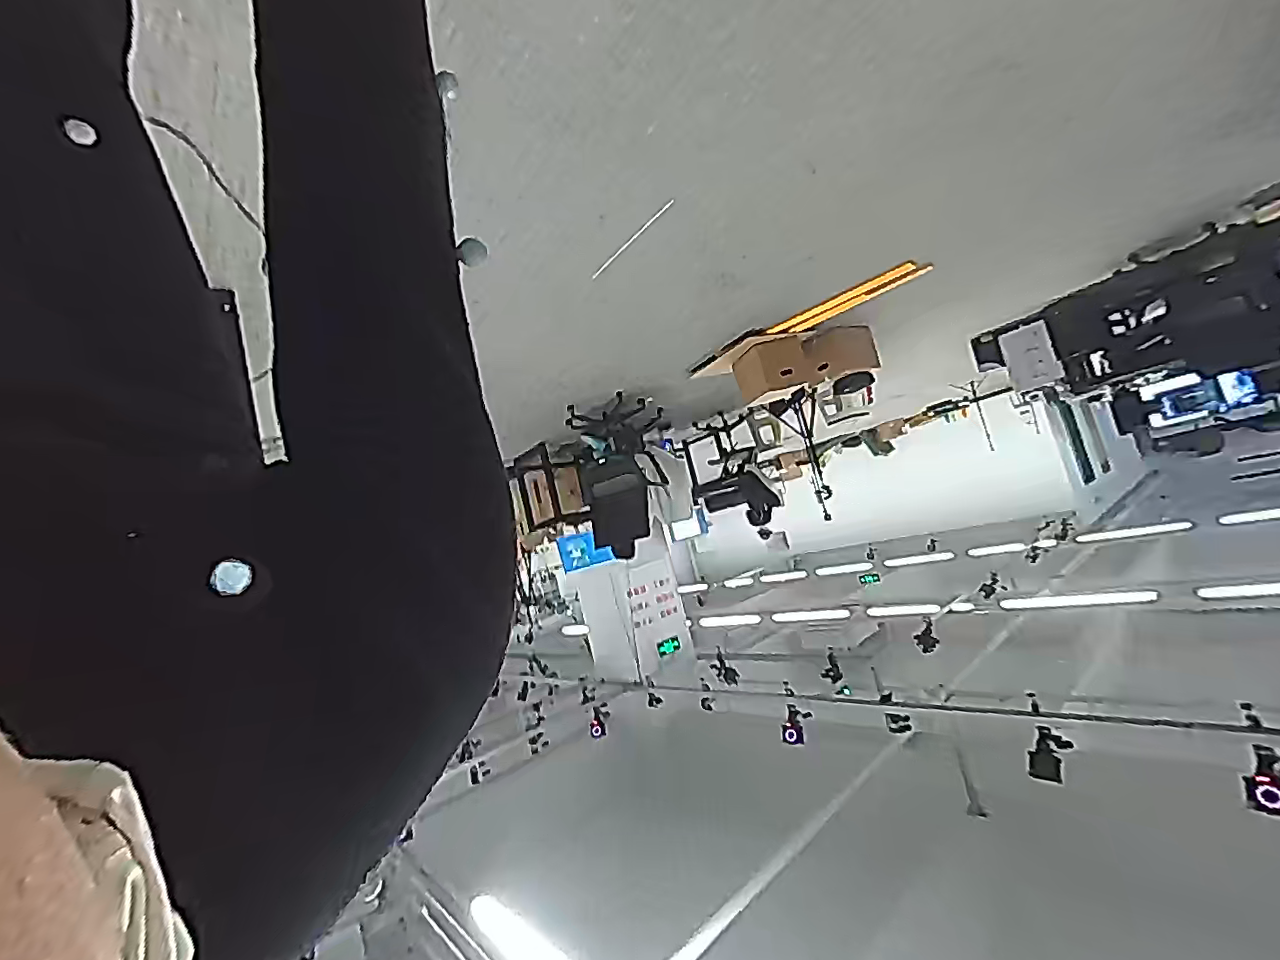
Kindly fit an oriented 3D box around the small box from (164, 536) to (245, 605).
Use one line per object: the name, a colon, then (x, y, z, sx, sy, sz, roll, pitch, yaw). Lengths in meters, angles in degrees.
small box: (-1.285, 0.267, 1.605, 0.168, 0.176, 0.179, -10, 172, -35)
